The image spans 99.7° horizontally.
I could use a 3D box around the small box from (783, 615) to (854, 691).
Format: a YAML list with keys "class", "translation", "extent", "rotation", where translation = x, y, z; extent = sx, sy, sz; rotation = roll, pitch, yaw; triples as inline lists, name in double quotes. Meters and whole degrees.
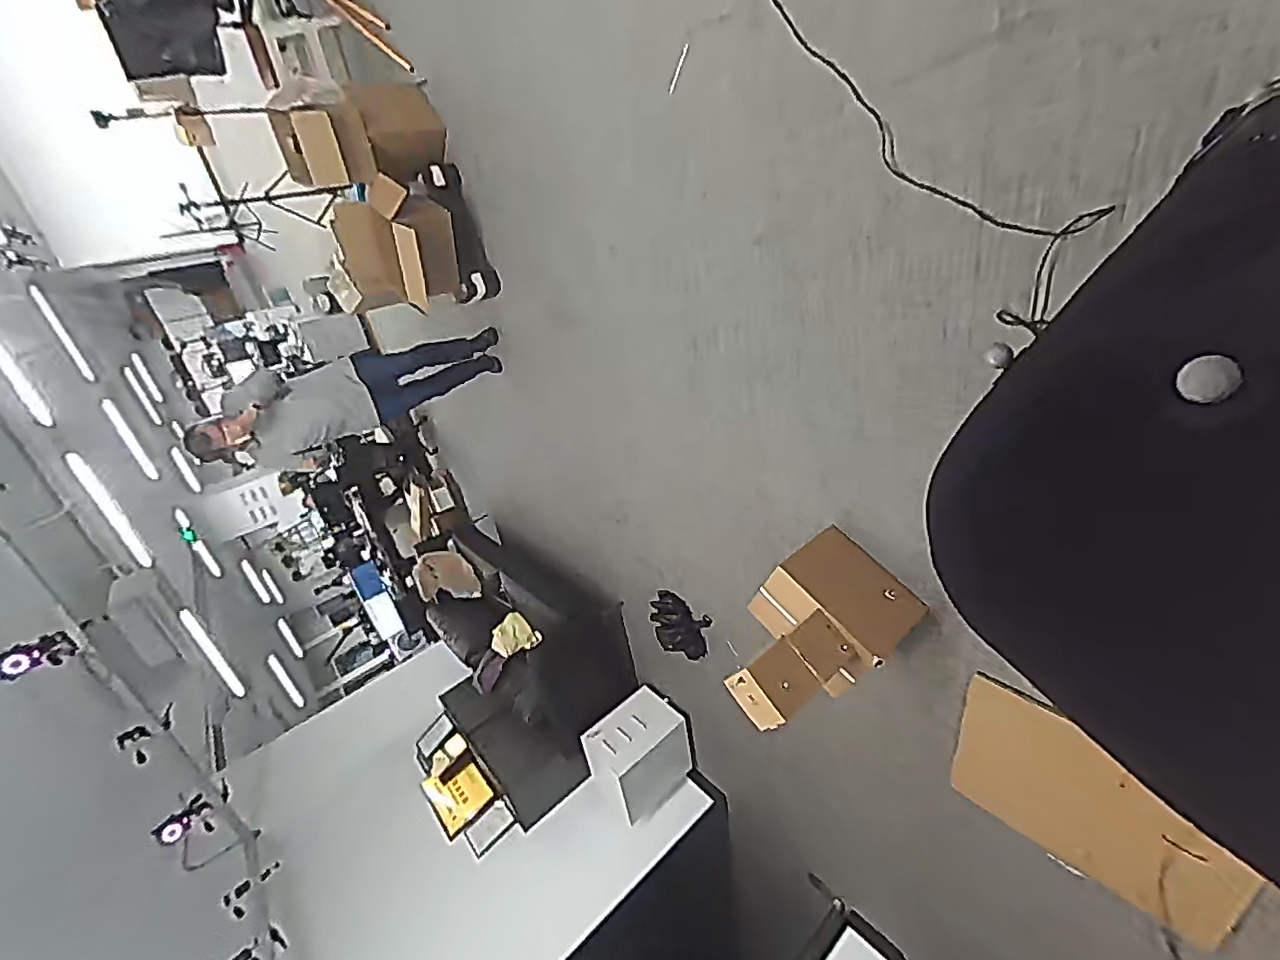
- class: "small box"
  translation: [0.531, 0.546, 1.674]
  extent: [0.168, 0.176, 0.179]
  rotation: [51, 147, 19]

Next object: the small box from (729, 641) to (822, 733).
- class: "small box"
  translation: [0.402, 0.611, 1.603]
  extent: [0.179, 0.176, 0.168]
  rotation: [51, 149, 21]
